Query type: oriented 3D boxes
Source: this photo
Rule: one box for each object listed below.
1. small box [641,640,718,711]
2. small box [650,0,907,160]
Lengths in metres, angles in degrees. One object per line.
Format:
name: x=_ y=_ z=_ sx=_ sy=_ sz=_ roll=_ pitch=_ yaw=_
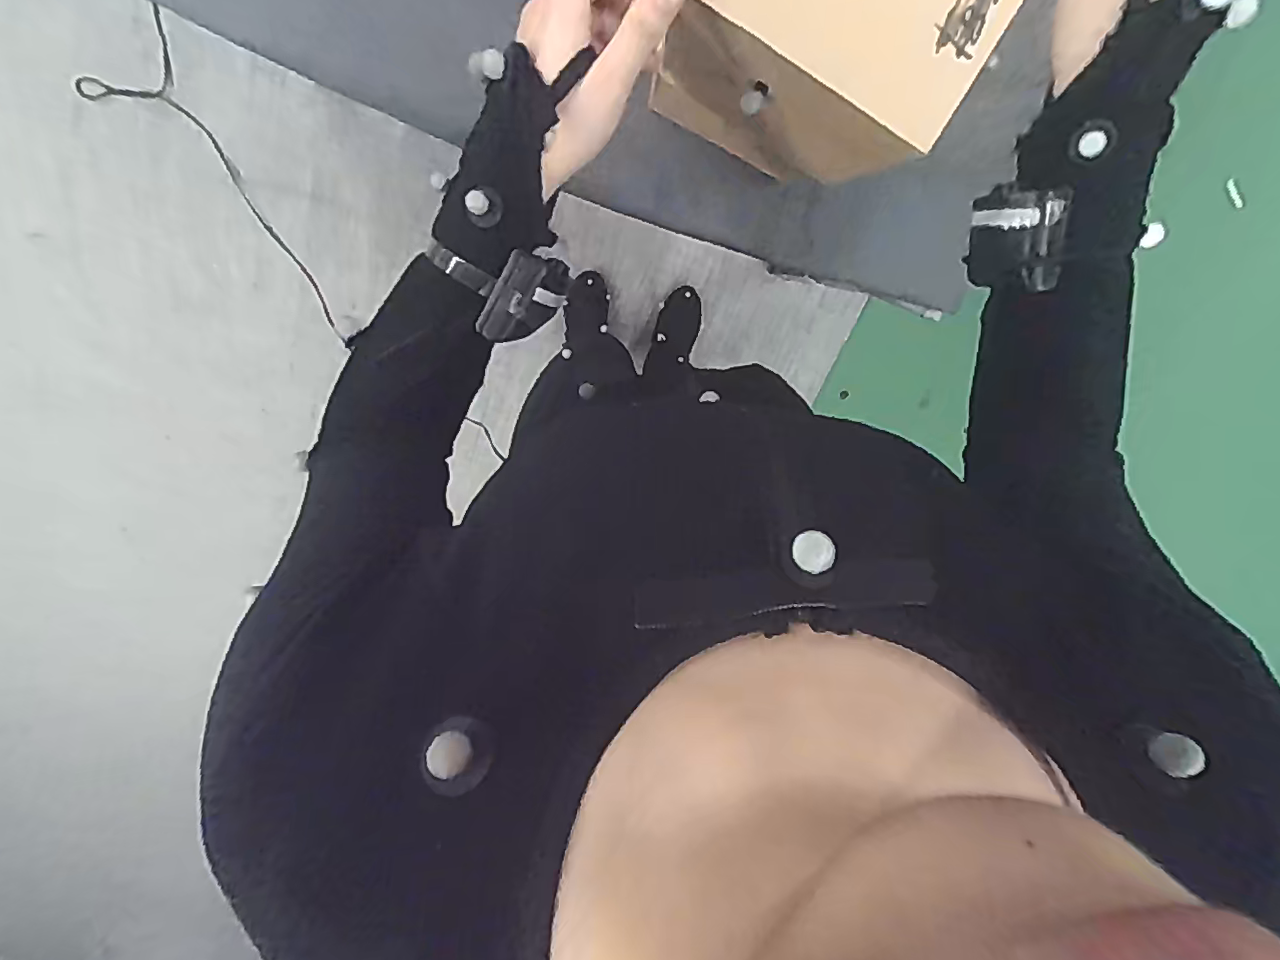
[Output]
small box: x=0.119 y=0.633 z=1.683 sx=0.179 sy=0.176 sz=0.168 roll=28 pitch=110 yaw=-10
small box: x=0.117 y=-0.415 z=0.484 sx=0.179 sy=0.176 sz=0.168 roll=23 pitch=112 yaw=-11
